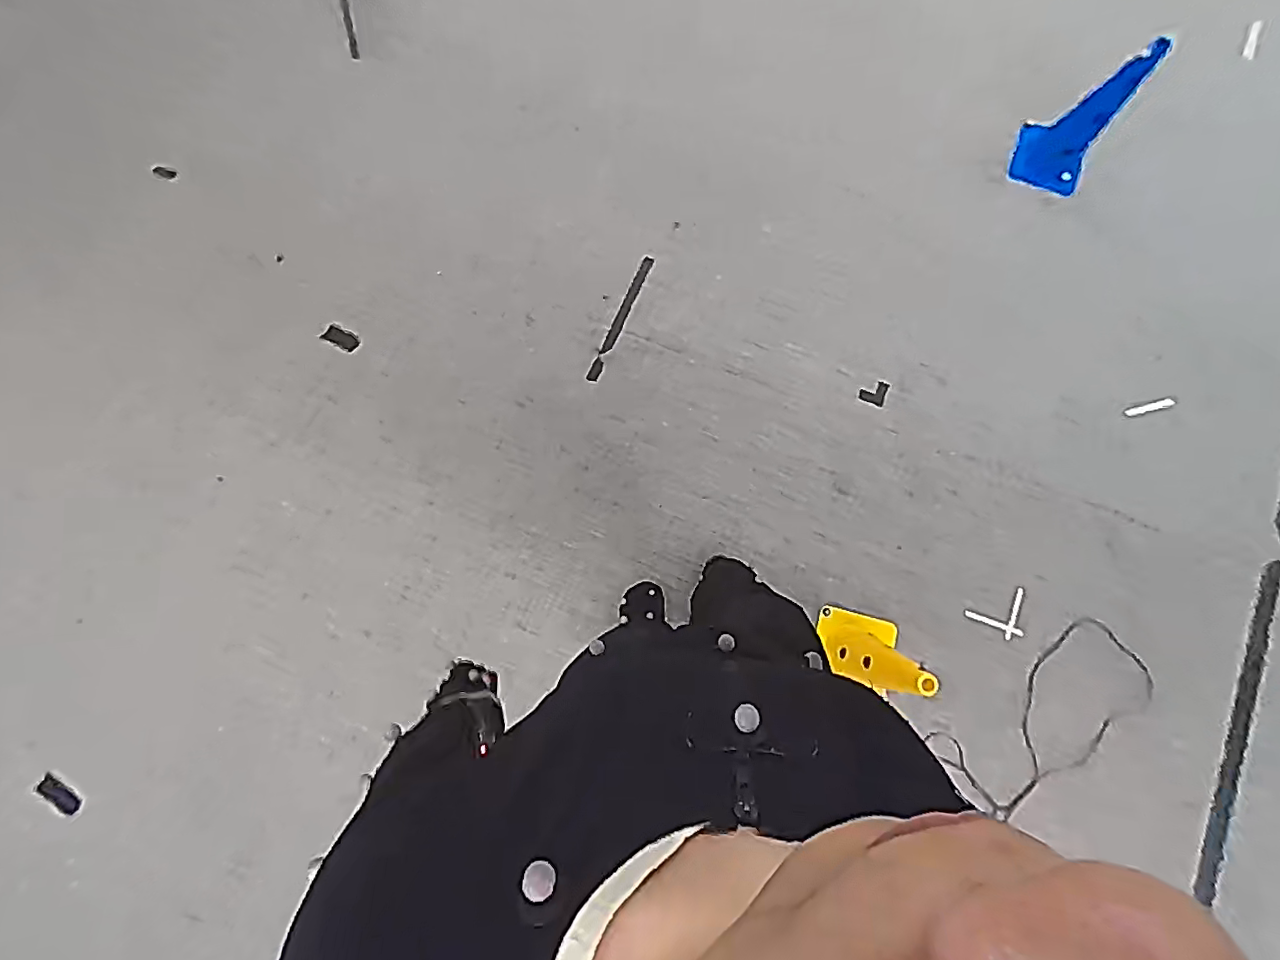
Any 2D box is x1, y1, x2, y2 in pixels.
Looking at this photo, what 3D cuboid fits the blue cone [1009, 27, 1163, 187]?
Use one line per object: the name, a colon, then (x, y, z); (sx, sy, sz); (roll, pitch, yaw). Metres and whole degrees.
blue cone: (1.178, -0.974, 1.403); (0.192, 0.380, 0.193); (22, 81, 4)
